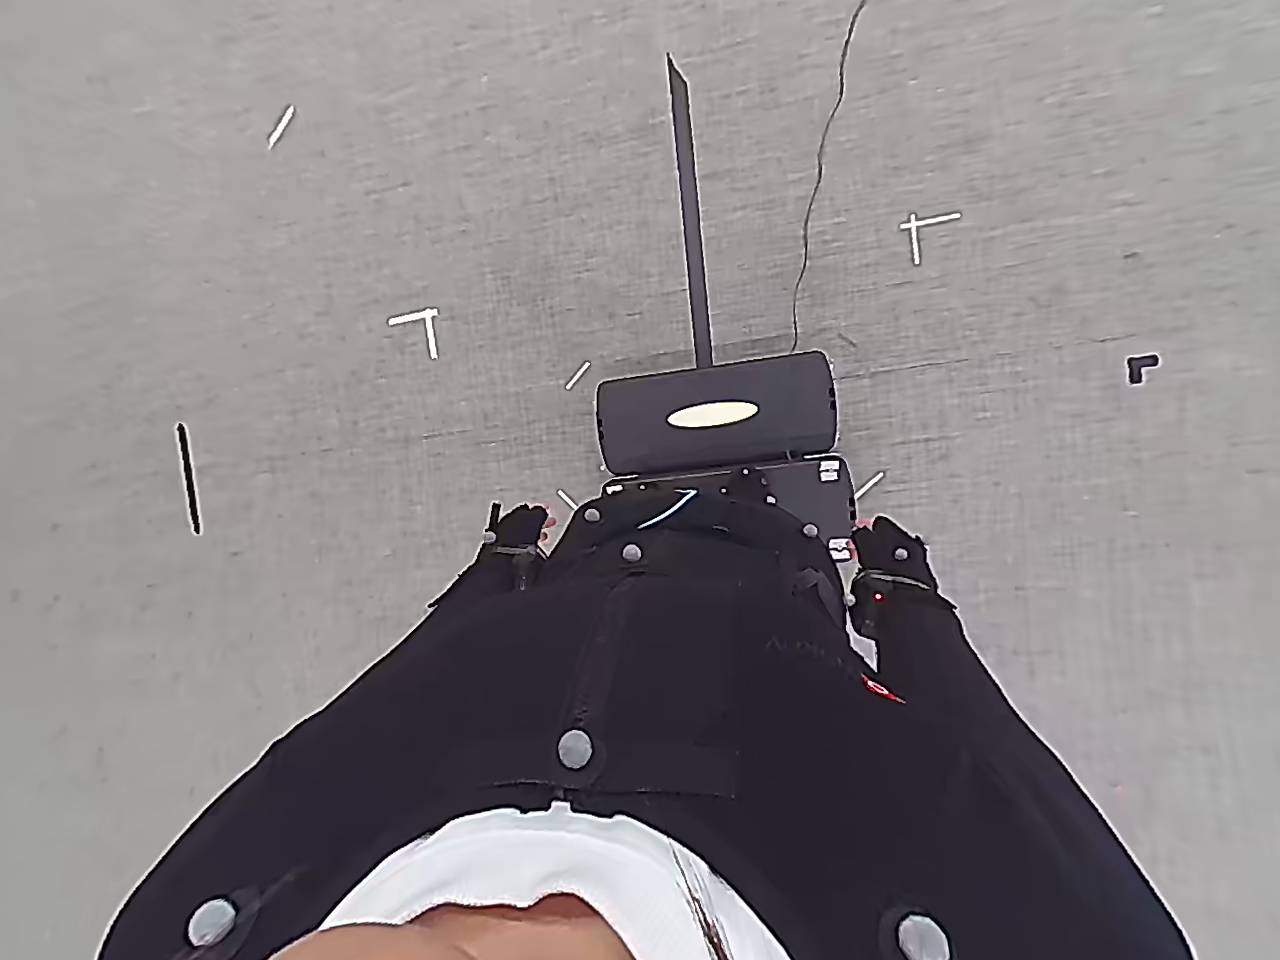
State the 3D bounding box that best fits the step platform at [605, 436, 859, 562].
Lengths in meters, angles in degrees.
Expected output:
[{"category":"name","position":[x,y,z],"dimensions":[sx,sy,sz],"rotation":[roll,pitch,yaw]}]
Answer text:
[{"category":"step platform","position":[0.244,0.058,1.511],"dimensions":[0.684,0.204,0.286],"rotation":[-7,91,11]}]
